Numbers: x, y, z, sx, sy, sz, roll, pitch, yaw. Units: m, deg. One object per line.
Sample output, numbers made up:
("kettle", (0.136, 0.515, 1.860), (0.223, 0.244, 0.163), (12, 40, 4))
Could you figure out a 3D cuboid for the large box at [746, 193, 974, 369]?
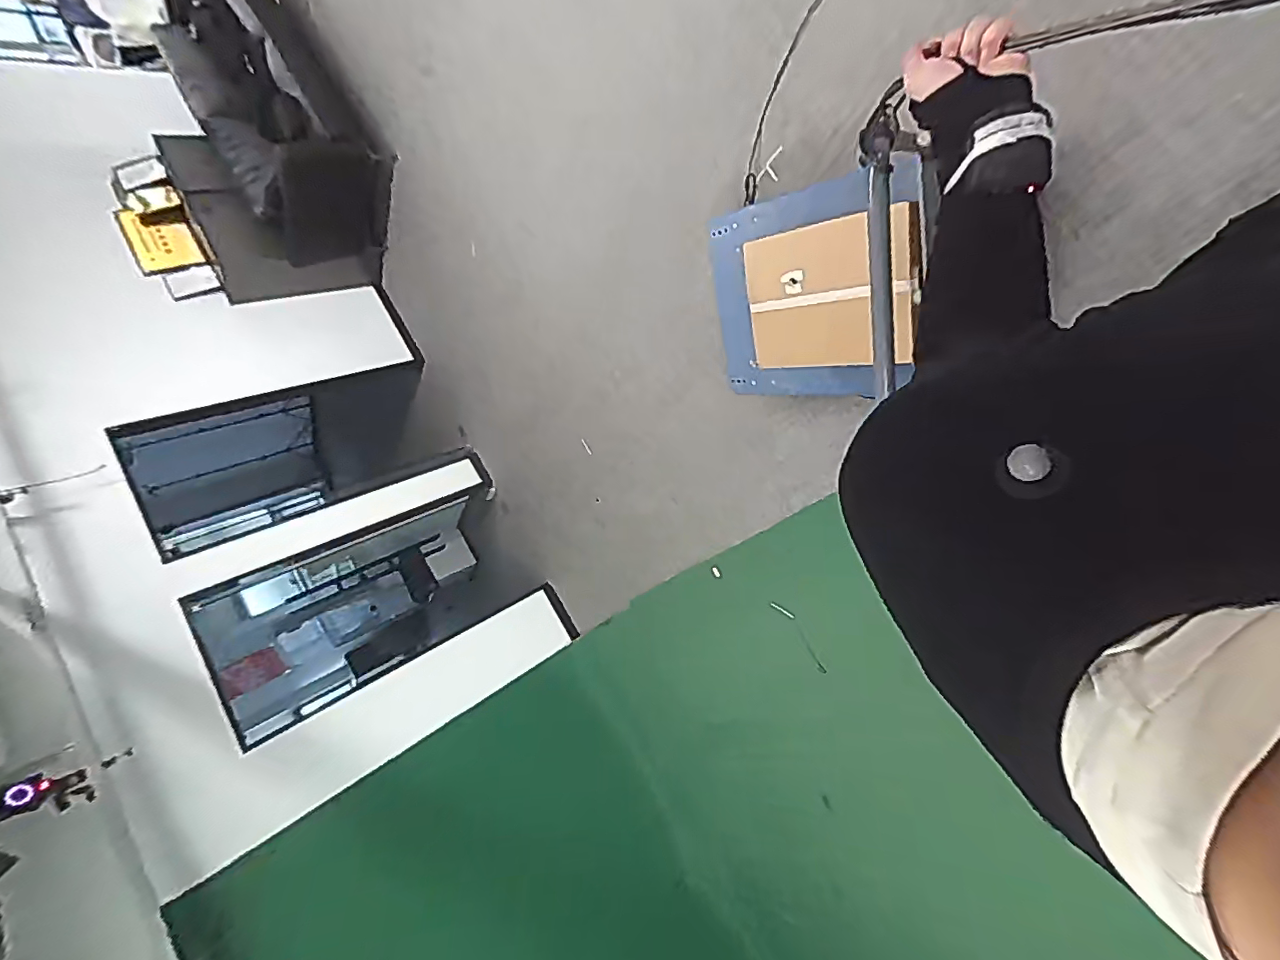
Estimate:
("large box", (0.526, -0.462, 1.300), (0.408, 0.320, 0.320), (11, 118, 50))
